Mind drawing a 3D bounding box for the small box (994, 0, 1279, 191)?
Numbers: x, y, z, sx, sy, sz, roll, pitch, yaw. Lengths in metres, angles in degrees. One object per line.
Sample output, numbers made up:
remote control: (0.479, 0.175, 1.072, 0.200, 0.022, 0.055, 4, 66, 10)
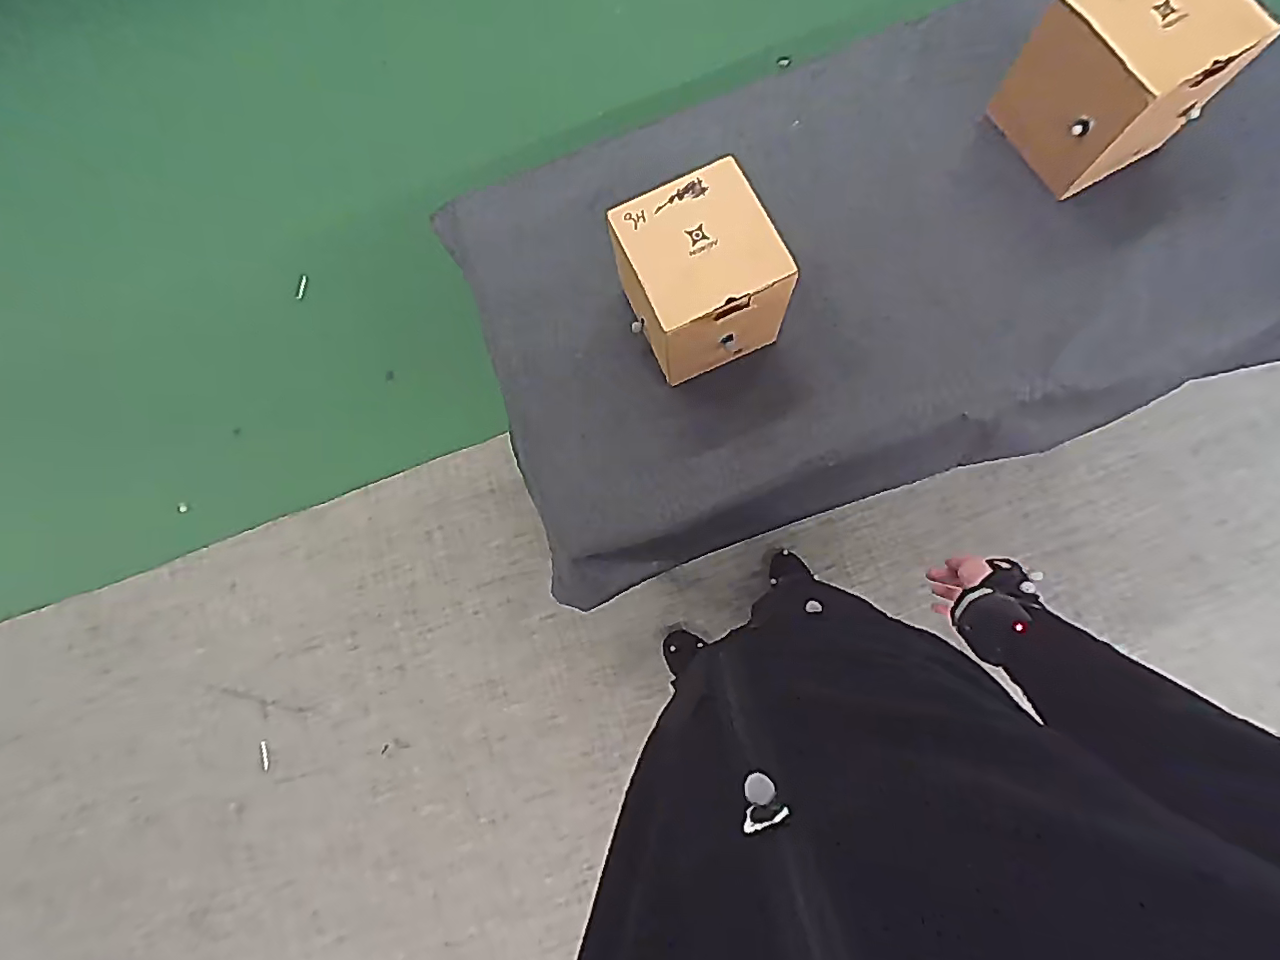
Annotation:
small box: (0.618, -0.514, 0.700, 0.168, 0.176, 0.179, -28, 76, -1)

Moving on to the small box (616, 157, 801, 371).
small box: (0.085, -0.261, 0.703, 0.168, 0.176, 0.179, -24, 78, 0)
